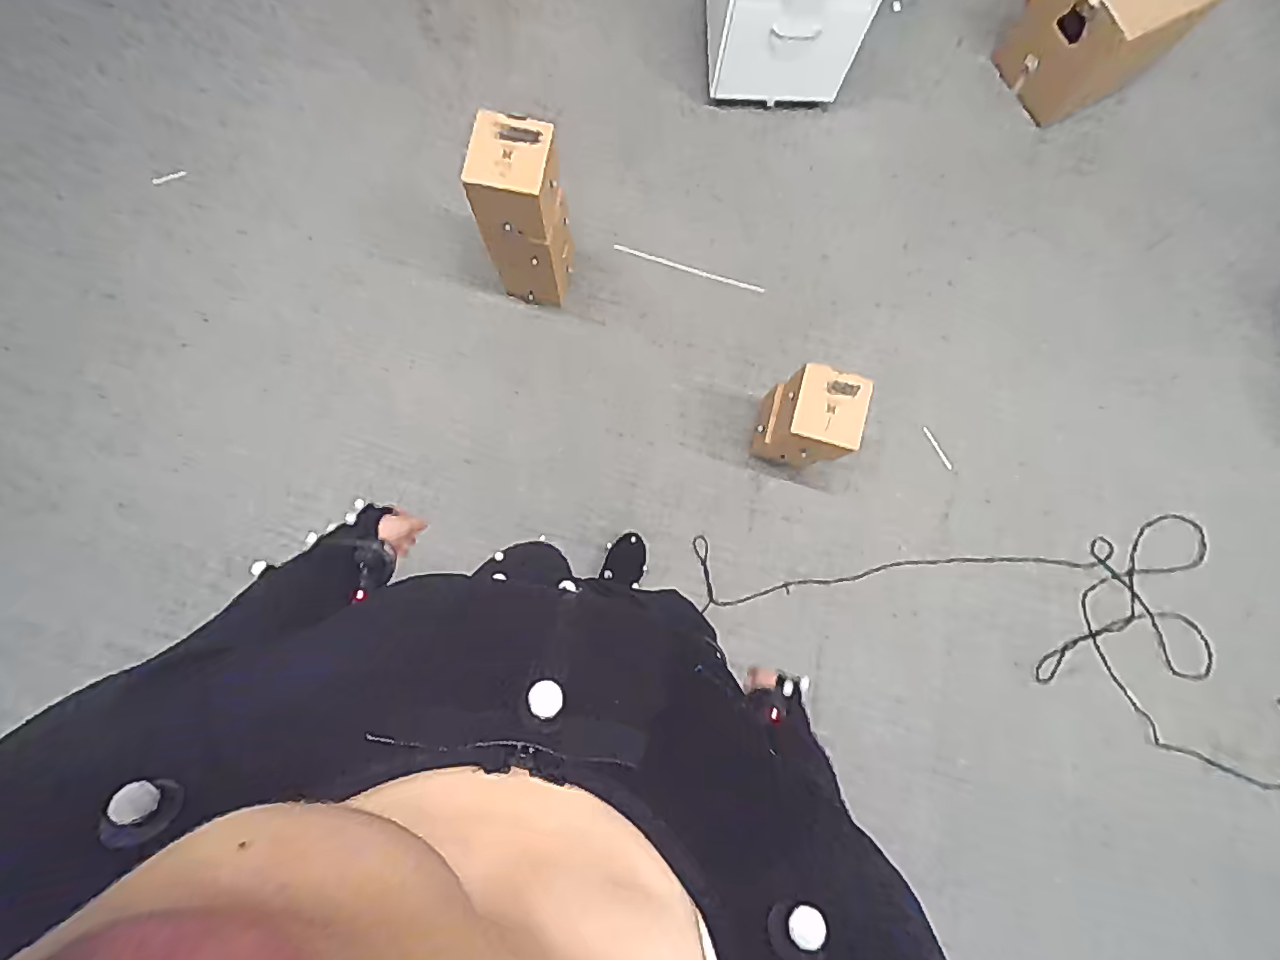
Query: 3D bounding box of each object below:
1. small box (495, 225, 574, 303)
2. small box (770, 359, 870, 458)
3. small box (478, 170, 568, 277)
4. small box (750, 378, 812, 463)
[{"bbox_3d":[-0.294,-0.629,1.540,0.179,0.176,0.168,15,81,-1],"label":"small box"},{"bbox_3d":[0.435,-0.168,1.331,0.168,0.176,0.179,16,83,0],"label":"small box"},{"bbox_3d":[-0.288,-0.643,1.377,0.179,0.176,0.168,12,80,1],"label":"small box"},{"bbox_3d":[0.413,-0.155,1.494,0.168,0.176,0.179,15,81,-1],"label":"small box"}]
